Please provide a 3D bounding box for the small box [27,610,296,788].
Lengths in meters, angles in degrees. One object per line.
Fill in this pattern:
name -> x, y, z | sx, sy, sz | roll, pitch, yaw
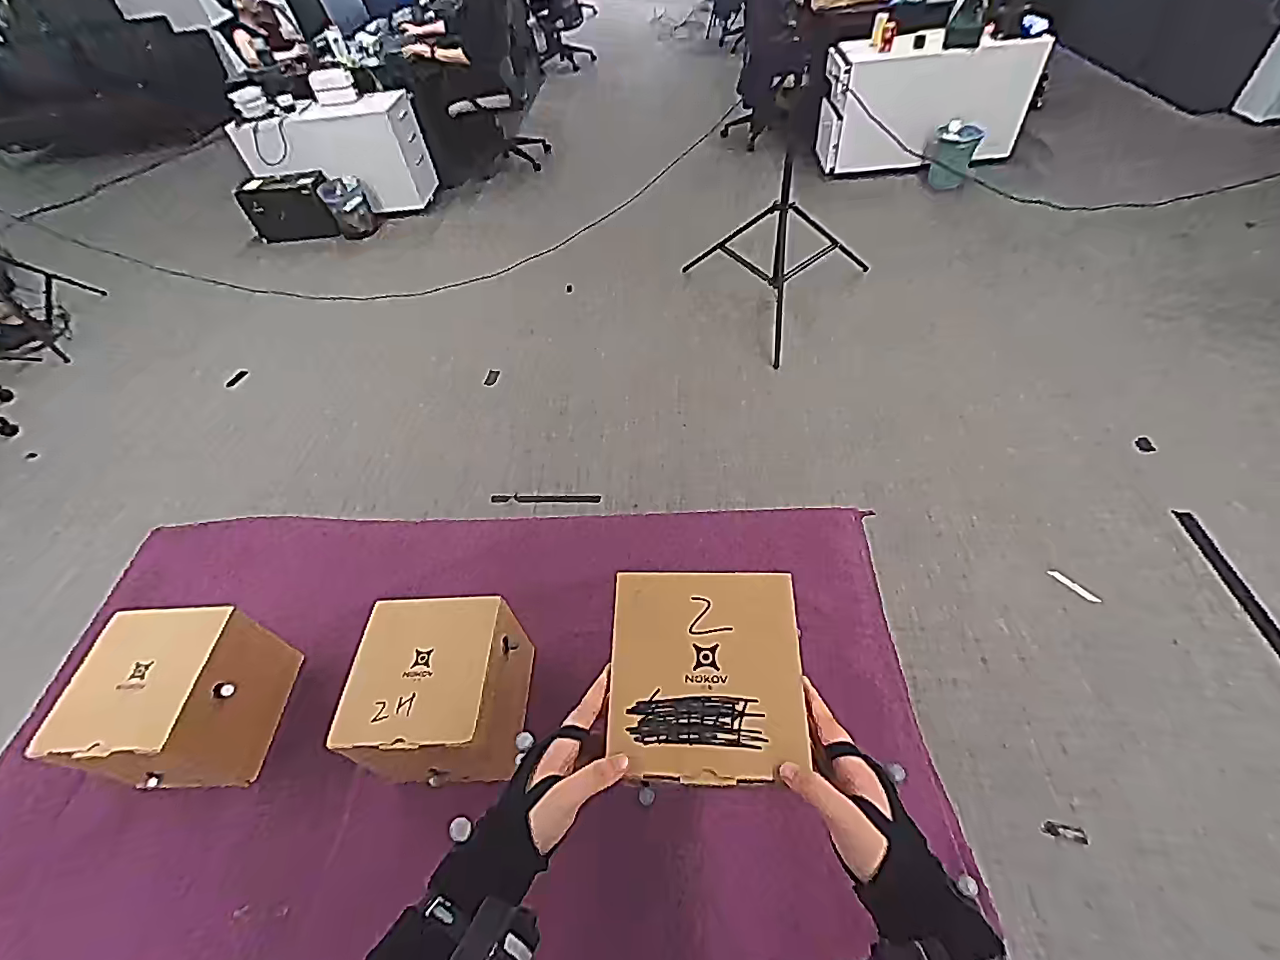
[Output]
small box -> -0.596, 0.289, 0.710 | 0.168, 0.176, 0.179 | -3, 51, 3

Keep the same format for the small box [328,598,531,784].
small box -> -0.244, 0.267, 0.683 | 0.168, 0.176, 0.179 | -4, 50, 5
